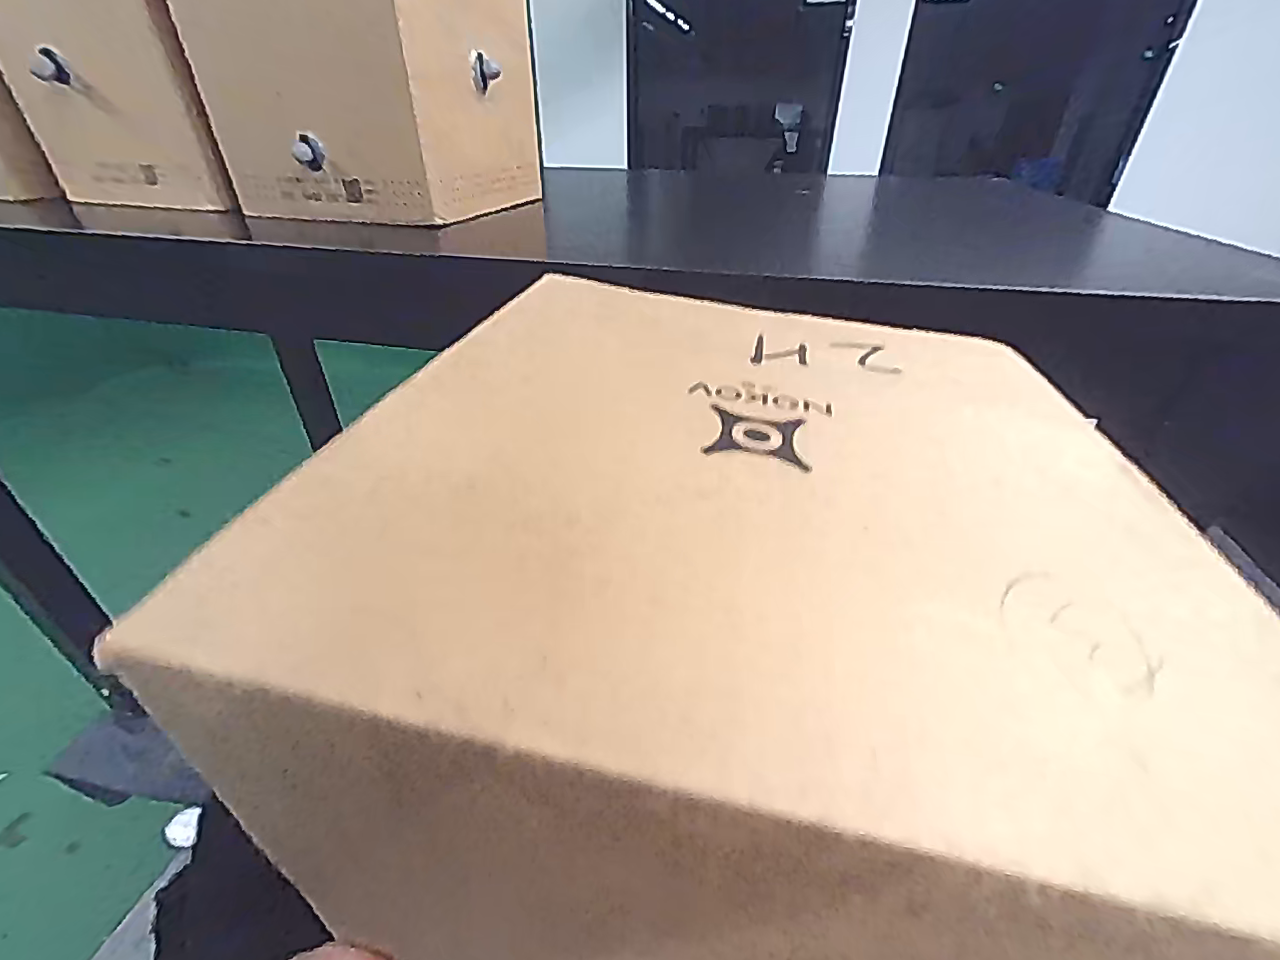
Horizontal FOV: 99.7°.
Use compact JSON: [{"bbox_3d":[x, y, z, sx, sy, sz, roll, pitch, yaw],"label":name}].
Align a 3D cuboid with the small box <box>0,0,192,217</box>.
[{"bbox_3d":[-0.568,-0.351,0.497,0.168,0.176,0.179,9,36,12],"label":"small box"}]
